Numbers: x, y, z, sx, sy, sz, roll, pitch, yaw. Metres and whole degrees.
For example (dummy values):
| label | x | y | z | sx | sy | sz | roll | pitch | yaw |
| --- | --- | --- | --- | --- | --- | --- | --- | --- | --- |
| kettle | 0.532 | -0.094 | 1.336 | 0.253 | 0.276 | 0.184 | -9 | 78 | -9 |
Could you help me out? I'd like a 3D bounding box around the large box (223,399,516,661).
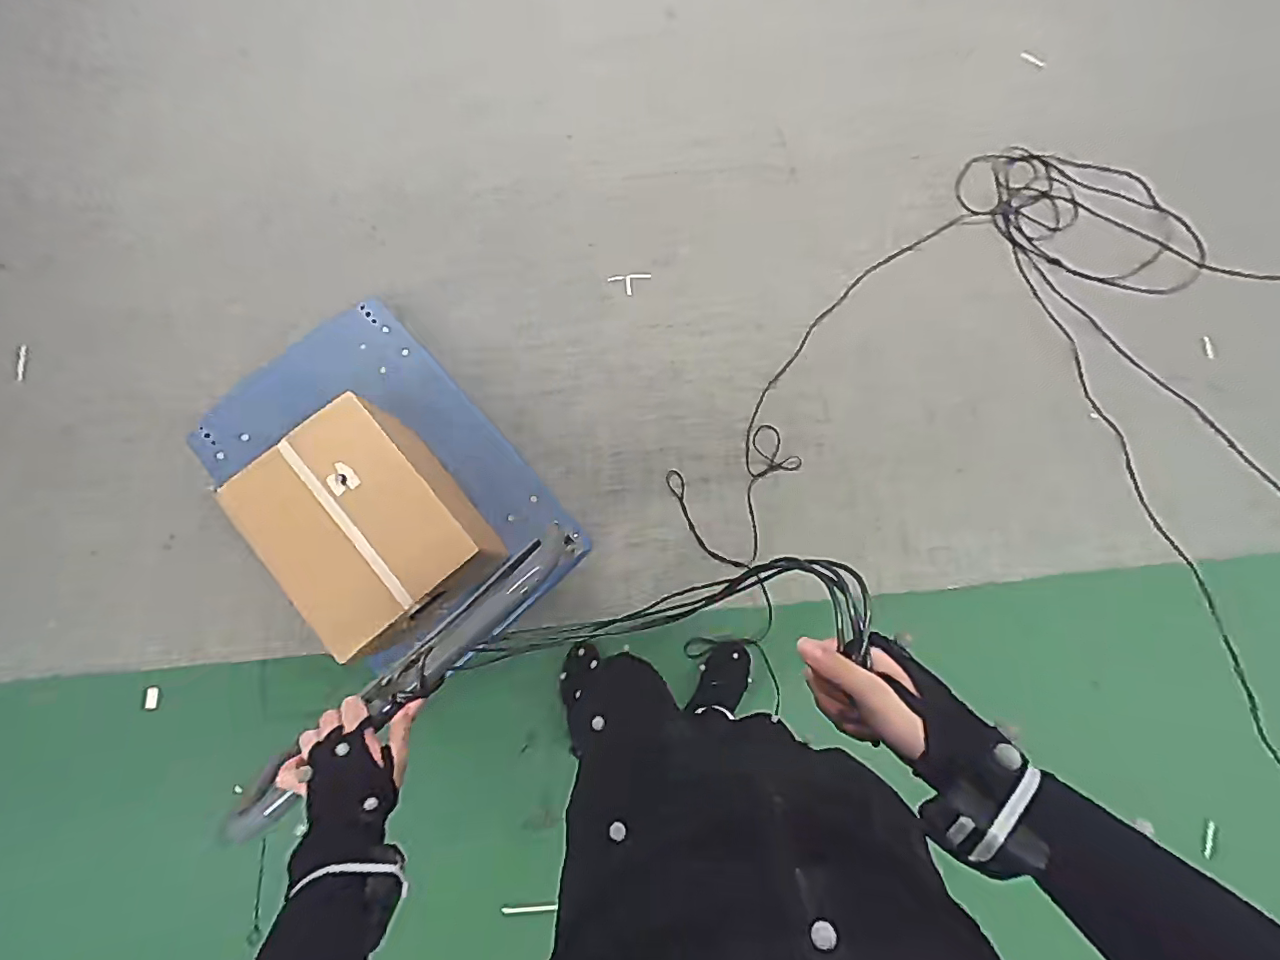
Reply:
| label | x | y | z | sx | sy | sz | roll | pitch | yaw |
| --- | --- | --- | --- | --- | --- | --- | --- | --- | --- |
| large box | -0.533 | 0.108 | 1.147 | 0.320 | 0.320 | 0.408 | -42 | 84 | -8 |
